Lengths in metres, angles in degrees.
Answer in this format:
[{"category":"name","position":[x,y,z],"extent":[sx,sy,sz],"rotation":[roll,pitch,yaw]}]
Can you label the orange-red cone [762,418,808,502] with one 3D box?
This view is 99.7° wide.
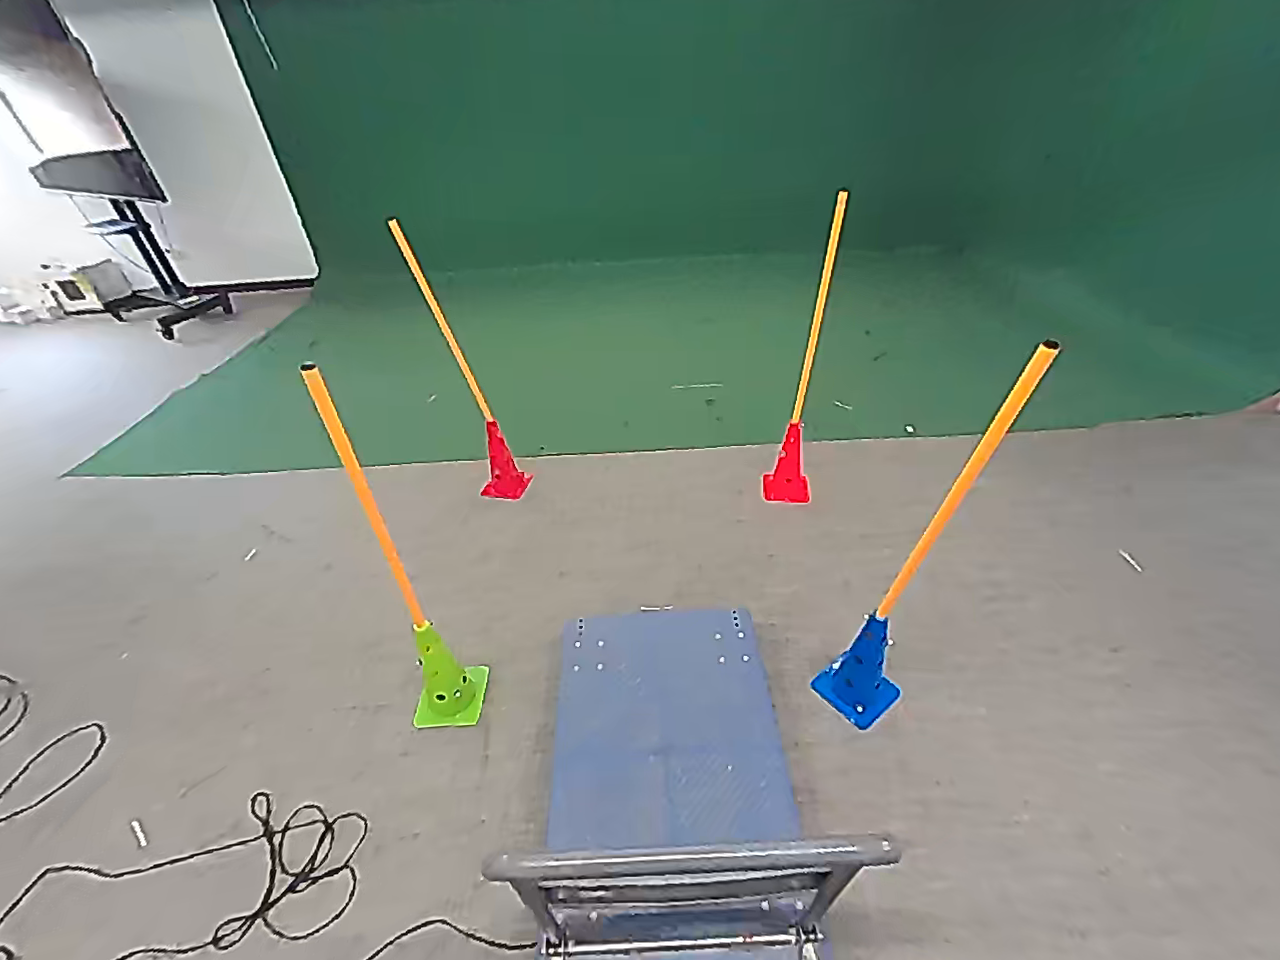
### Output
[{"category":"orange-red cone","position":[0.641,-0.103,2.325],"extent":[0.198,0.360,0.199],"rotation":[3,39,10]}]
